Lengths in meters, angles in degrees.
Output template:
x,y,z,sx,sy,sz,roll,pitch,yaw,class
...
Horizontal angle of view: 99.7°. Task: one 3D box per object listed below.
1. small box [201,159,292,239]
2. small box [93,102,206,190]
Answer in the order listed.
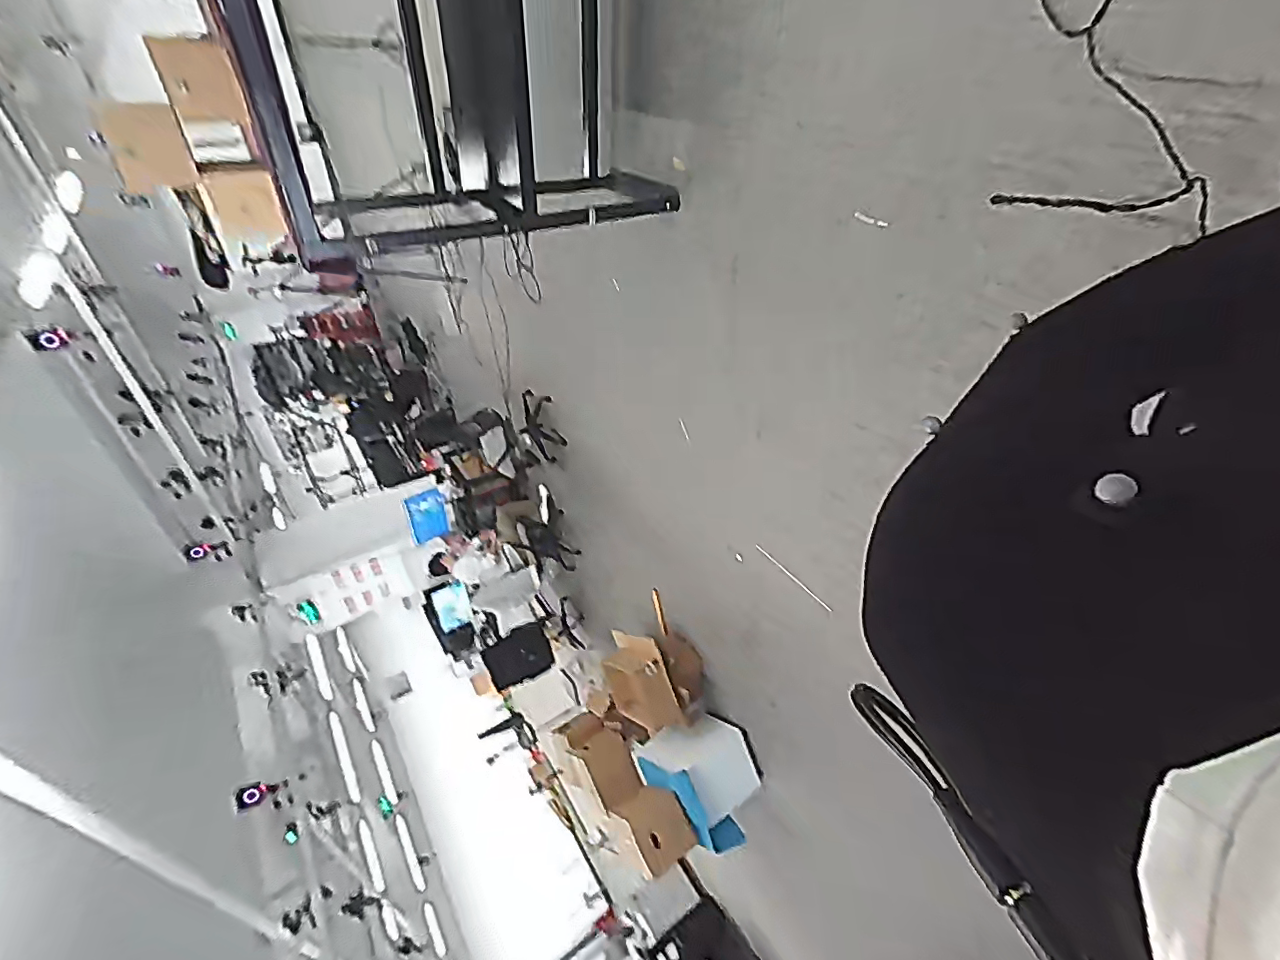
x,y,z,sx,sy,sz,roll,pitch,yaw,class
-1.146,-0.829,1.584,0.179,0.176,0.168,48,147,36,small box
-1.272,-0.878,1.418,0.168,0.176,0.179,44,143,40,small box
